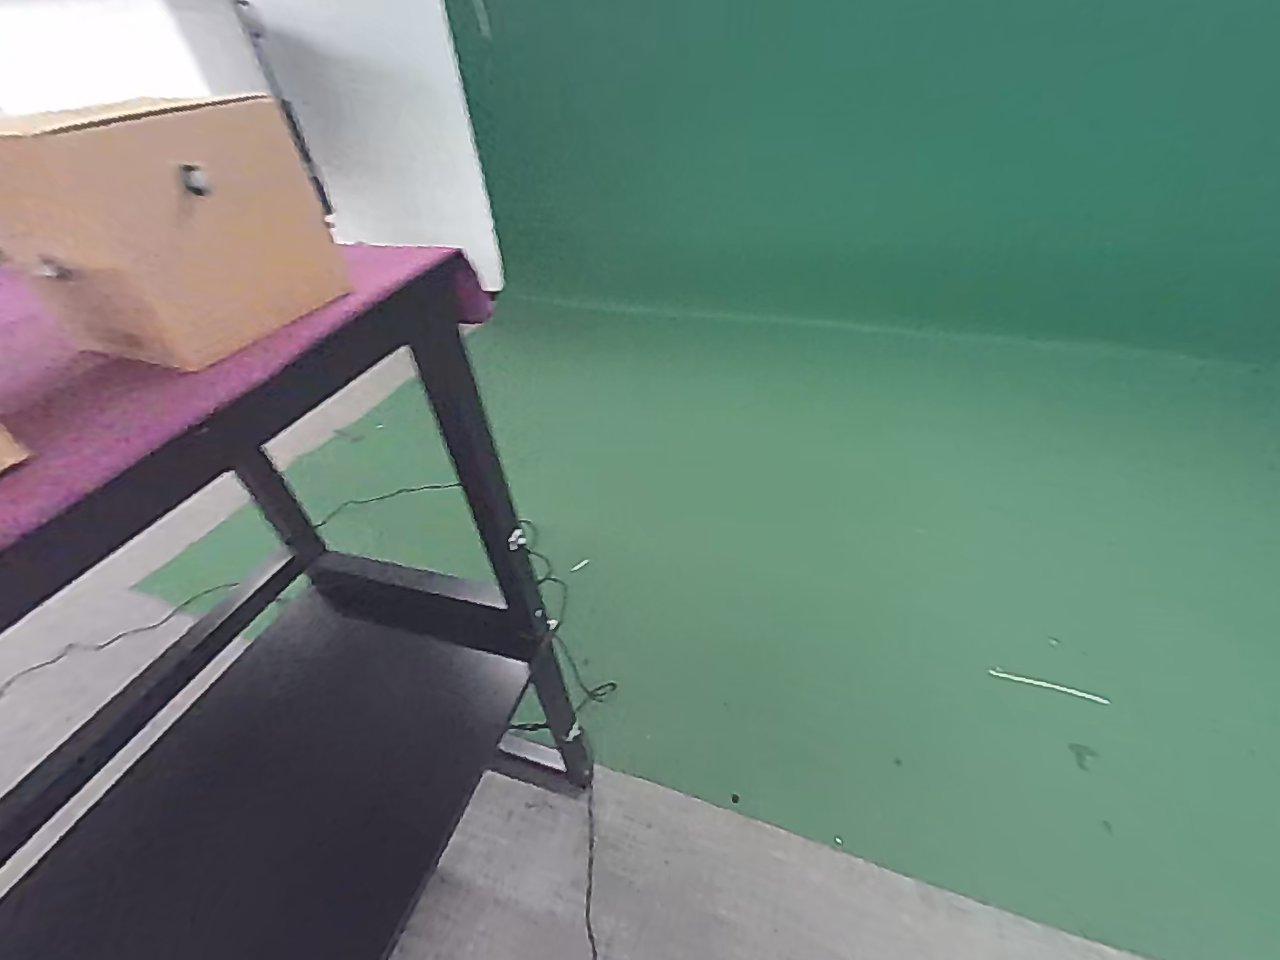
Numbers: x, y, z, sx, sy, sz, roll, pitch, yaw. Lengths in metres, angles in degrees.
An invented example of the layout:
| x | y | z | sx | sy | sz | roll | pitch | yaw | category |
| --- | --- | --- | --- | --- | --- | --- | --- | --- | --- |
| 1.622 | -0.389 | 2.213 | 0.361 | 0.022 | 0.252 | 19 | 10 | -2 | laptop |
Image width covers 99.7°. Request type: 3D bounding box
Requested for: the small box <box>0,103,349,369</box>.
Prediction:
| x | y | z | sx | sy | sz | roll | pitch | yaw | category |
| --- | --- | --- | --- | --- | --- | --- | --- | --- | --- |
| -0.401 | -0.214 | 0.474 | 0.168 | 0.176 | 0.179 | 13 | 43 | 19 | small box |
